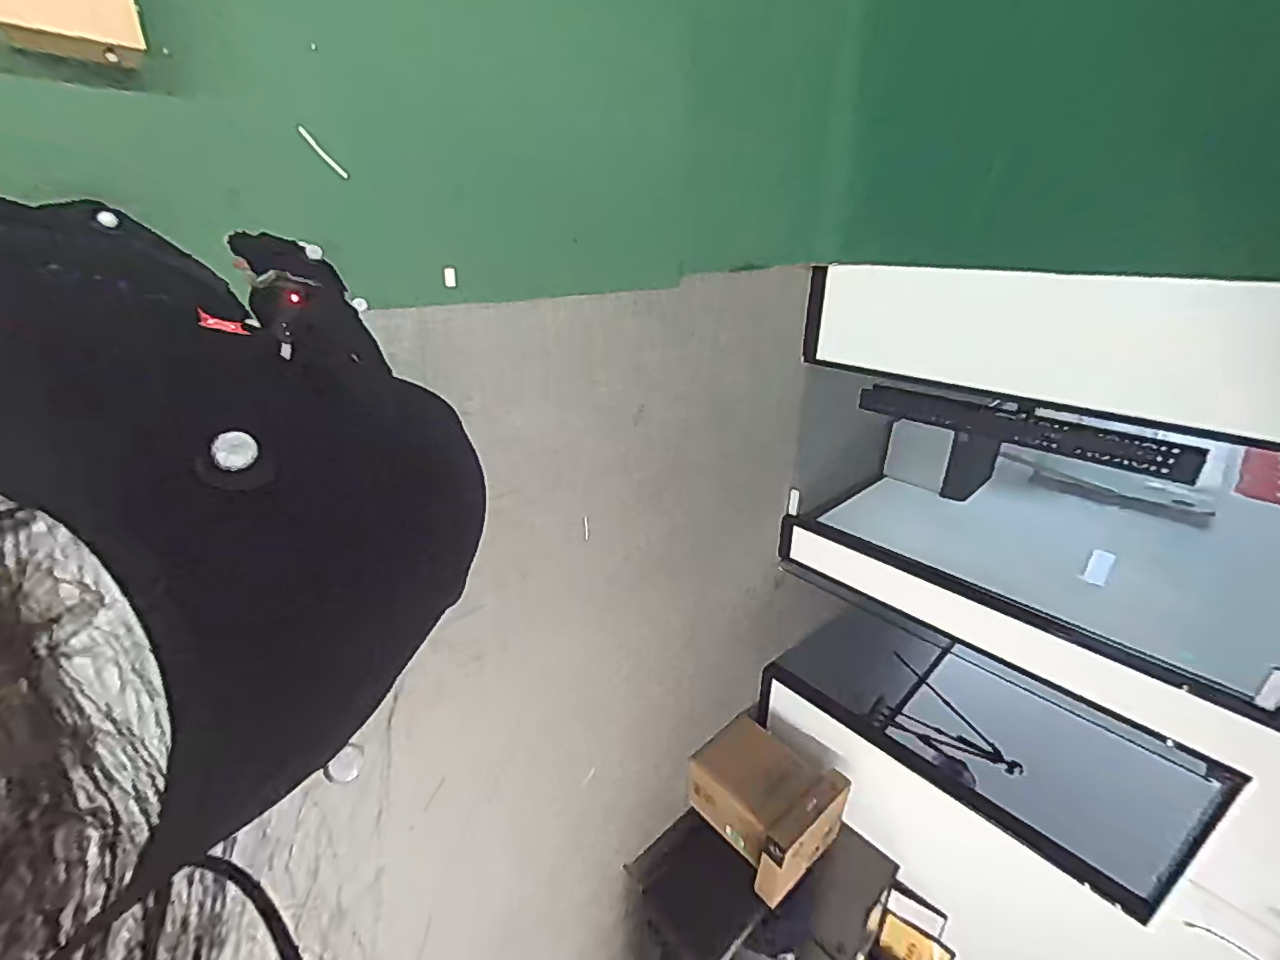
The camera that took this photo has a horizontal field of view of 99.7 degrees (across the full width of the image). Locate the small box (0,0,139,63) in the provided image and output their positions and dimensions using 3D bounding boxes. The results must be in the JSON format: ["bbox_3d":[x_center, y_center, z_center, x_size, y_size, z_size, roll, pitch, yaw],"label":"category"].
[{"bbox_3d":[-0.934,-0.783,0.848,0.179,0.176,0.168,-19,121,-40],"label":"small box"}]
